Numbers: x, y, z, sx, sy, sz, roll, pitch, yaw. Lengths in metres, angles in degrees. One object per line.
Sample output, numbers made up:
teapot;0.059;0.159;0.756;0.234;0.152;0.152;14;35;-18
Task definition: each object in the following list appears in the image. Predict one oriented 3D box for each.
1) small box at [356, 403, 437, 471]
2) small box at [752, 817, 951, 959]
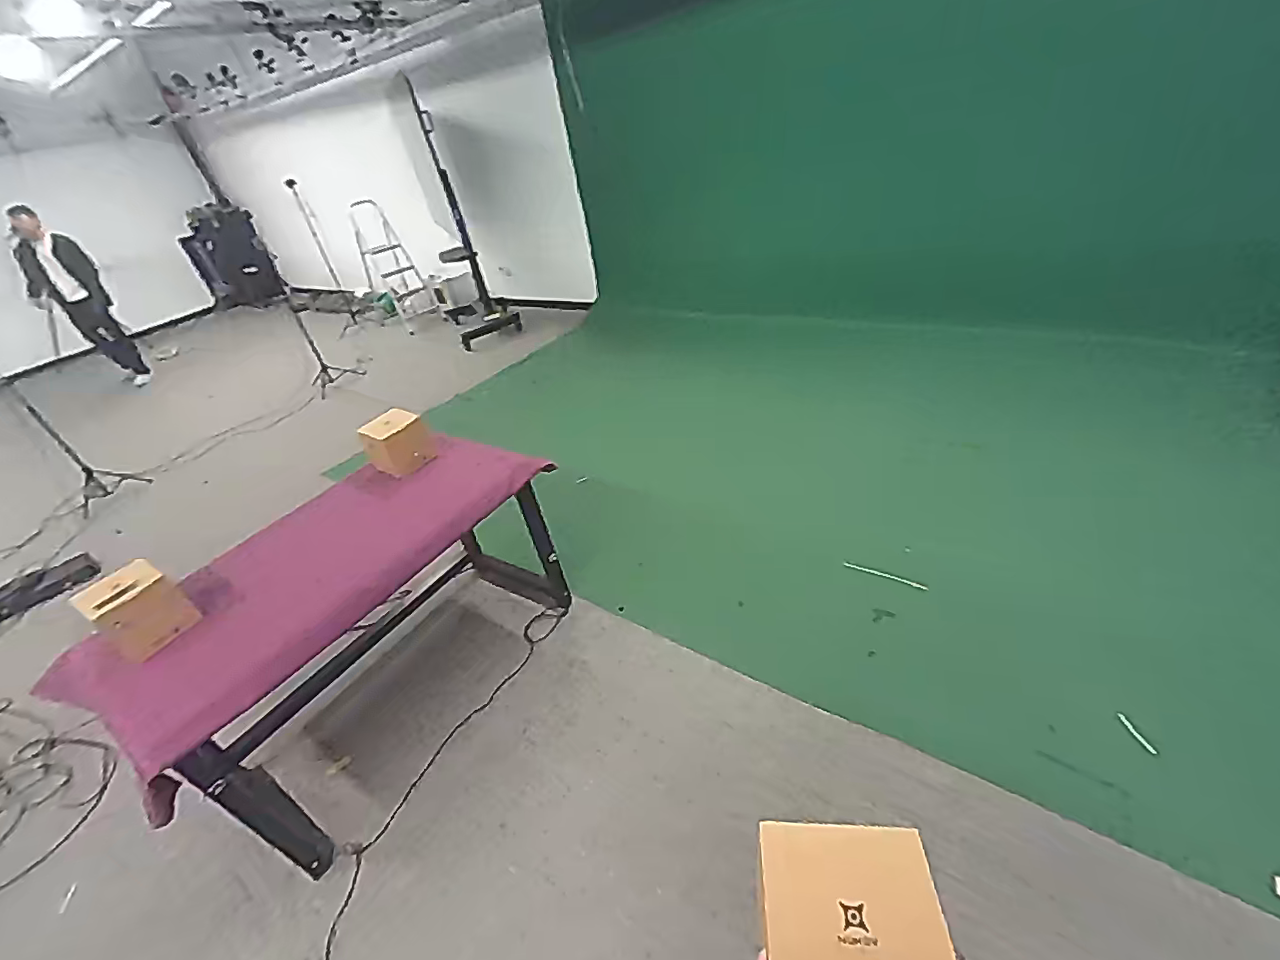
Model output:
small box;-0.871;-0.153;1.942;0.179;0.176;0.168;17;46;33
small box;0.203;0.479;0.548;0.168;0.176;0.179;-2;33;8
